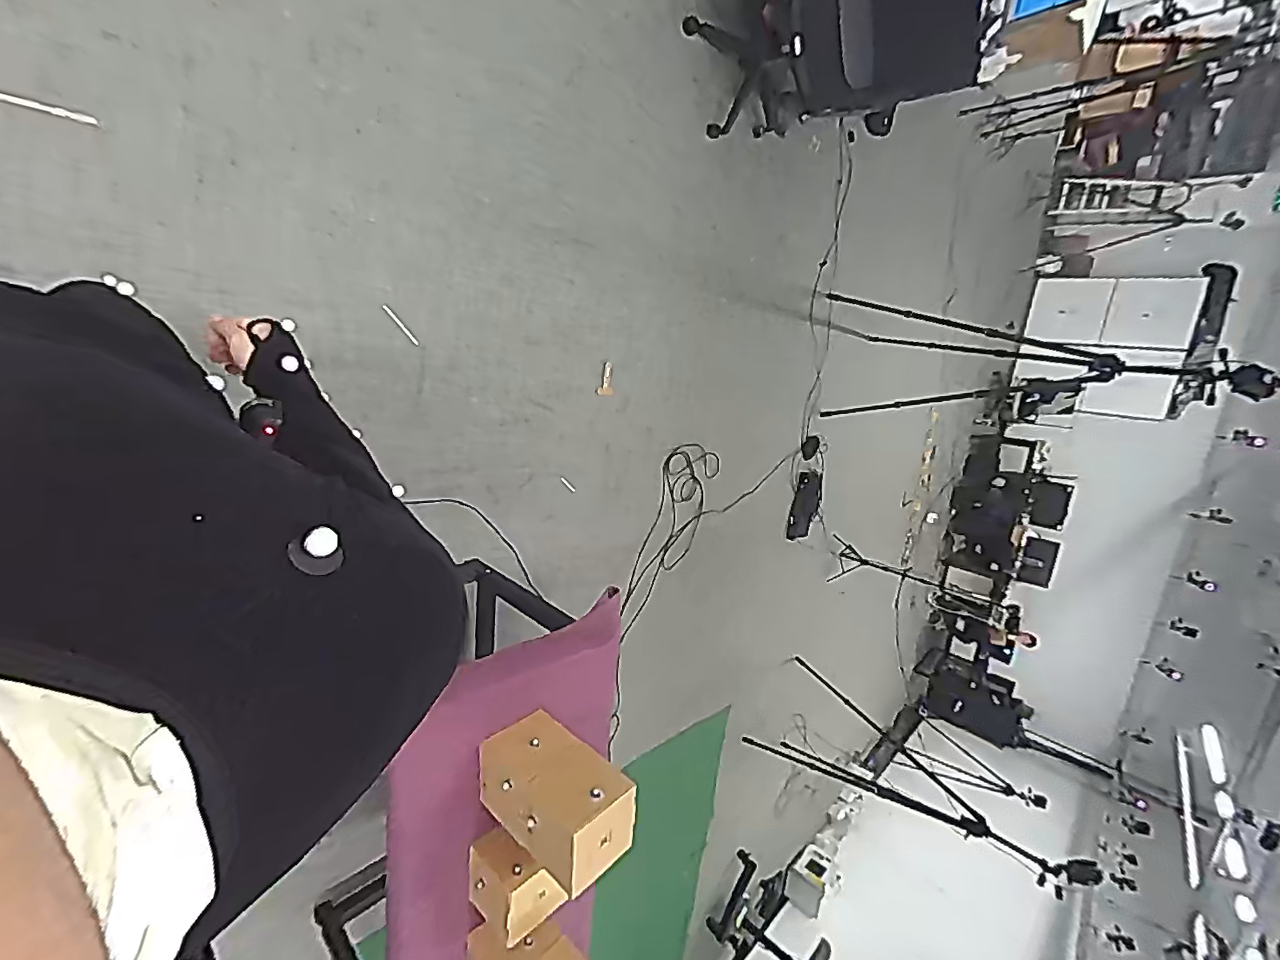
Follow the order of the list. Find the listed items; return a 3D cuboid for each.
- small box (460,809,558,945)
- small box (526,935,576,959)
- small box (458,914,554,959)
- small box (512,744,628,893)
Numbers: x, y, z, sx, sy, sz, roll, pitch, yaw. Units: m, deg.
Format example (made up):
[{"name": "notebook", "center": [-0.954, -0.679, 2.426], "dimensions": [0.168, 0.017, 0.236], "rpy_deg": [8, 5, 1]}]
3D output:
[{"name": "small box", "center": [-0.313, 0.943, 1.312], "dimensions": [0.179, 0.176, 0.168], "rpy_deg": [-10, 111, -46]}, {"name": "small box", "center": [-0.219, 1.238, 1.265], "dimensions": [0.179, 0.176, 0.168], "rpy_deg": [-13, 112, -47]}, {"name": "small box", "center": [-0.340, 1.200, 1.369], "dimensions": [0.179, 0.176, 0.168], "rpy_deg": [-11, 111, -46]}, {"name": "small box", "center": [-0.150, 0.708, 1.156], "dimensions": [0.179, 0.176, 0.168], "rpy_deg": [-11, 111, -47]}]
